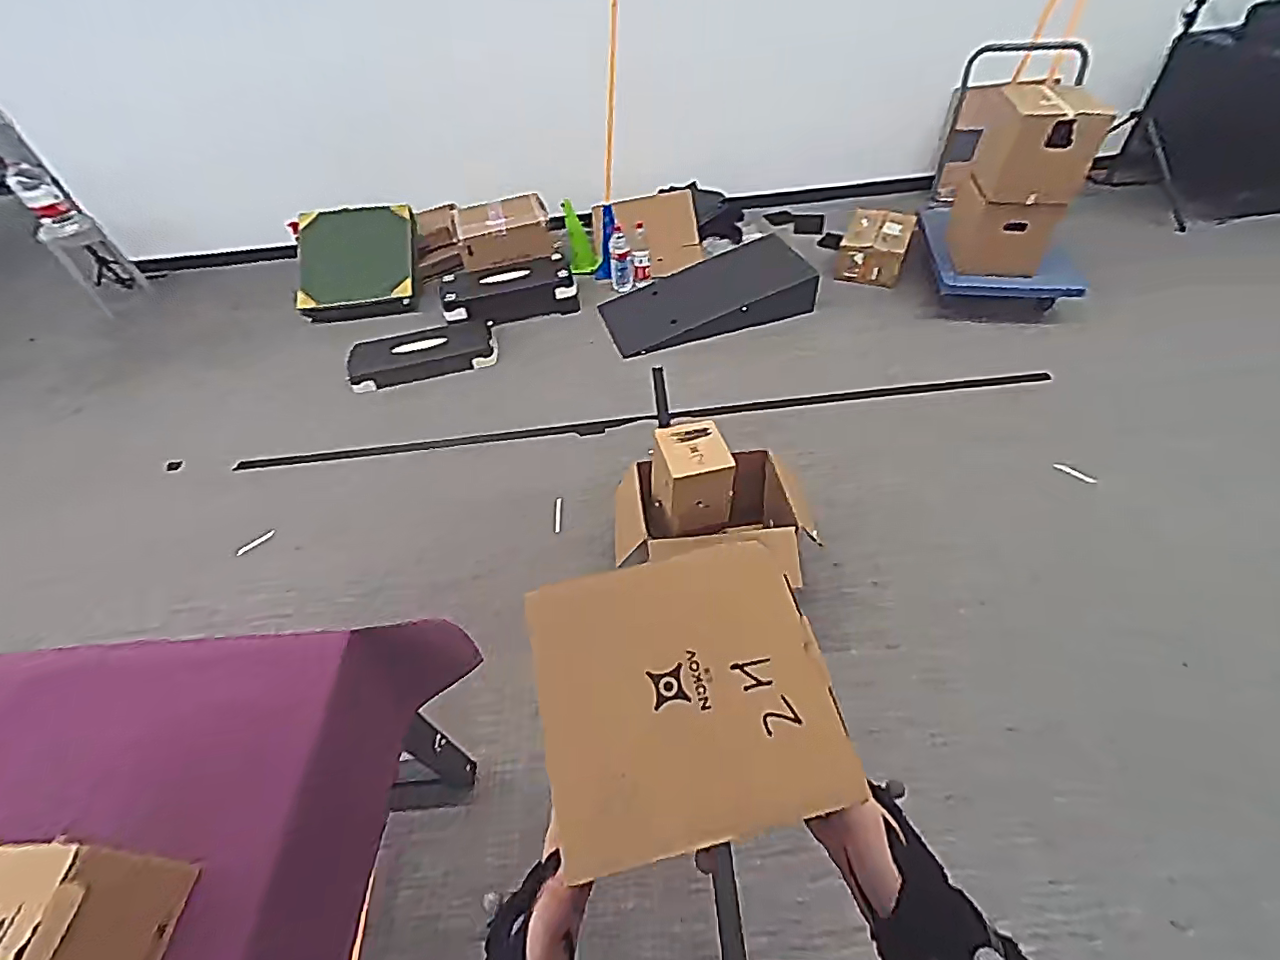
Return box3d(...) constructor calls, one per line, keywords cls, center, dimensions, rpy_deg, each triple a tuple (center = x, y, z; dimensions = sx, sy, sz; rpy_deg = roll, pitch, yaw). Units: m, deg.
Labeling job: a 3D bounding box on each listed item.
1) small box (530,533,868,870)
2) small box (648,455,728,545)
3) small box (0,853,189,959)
box3d(cls="small box", center=(0.031, 0.162, 0.400), dimensions=(0.179, 0.176, 0.168), rpy_deg=(-12, 61, -4))
box3d(cls="small box", center=(0.134, 0.063, 1.573), dimensions=(0.179, 0.176, 0.168), rpy_deg=(-20, 52, -17))
box3d(cls="small box", center=(-0.620, 0.481, 0.540), dimensions=(0.179, 0.176, 0.168), rpy_deg=(-4, 48, 4))
